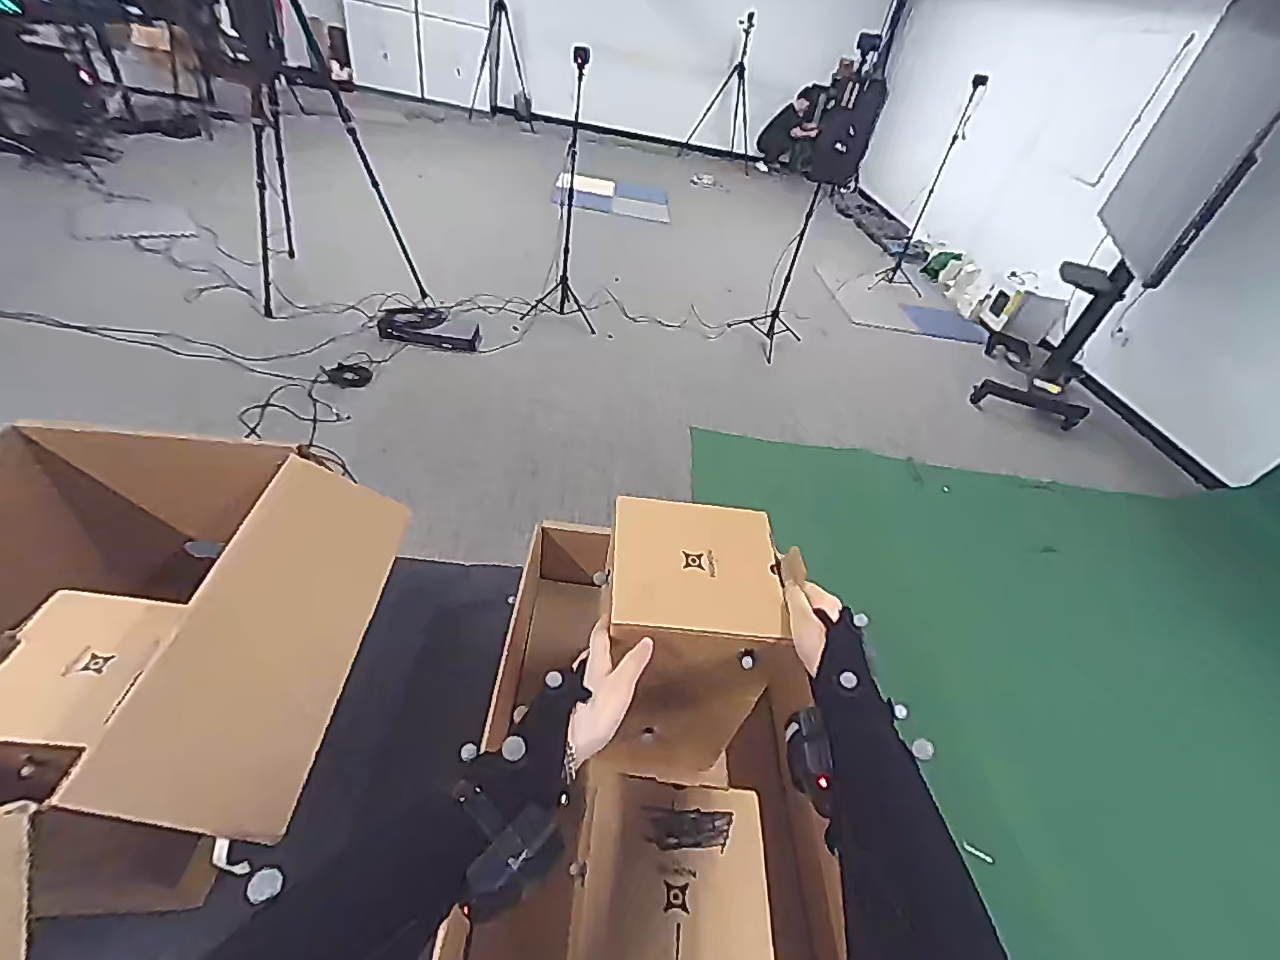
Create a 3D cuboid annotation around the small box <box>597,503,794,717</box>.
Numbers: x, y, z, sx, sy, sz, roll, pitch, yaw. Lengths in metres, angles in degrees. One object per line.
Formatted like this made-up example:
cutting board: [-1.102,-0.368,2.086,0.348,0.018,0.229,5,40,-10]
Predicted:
small box: [0.048,0.148,0.606,0.179,0.176,0.168,7,42,-6]
